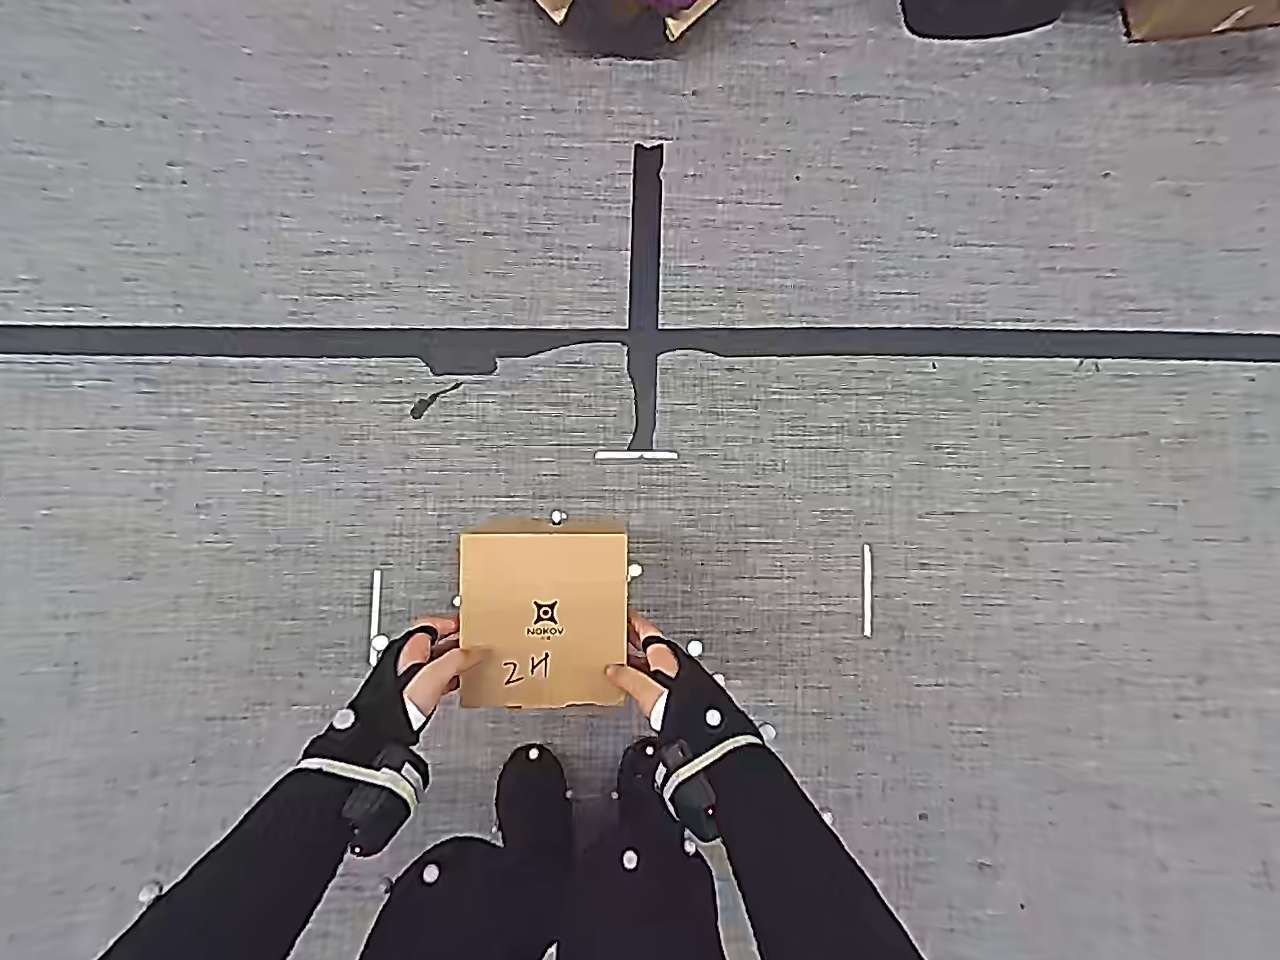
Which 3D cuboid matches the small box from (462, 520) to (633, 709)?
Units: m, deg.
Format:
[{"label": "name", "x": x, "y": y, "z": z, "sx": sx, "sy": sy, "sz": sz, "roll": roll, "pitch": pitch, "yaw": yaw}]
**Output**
[{"label": "small box", "x": -0.098, "y": 0.137, "z": 0.611, "sx": 0.168, "sy": 0.176, "sz": 0.179, "roll": 1, "pitch": 91, "yaw": -5}]
